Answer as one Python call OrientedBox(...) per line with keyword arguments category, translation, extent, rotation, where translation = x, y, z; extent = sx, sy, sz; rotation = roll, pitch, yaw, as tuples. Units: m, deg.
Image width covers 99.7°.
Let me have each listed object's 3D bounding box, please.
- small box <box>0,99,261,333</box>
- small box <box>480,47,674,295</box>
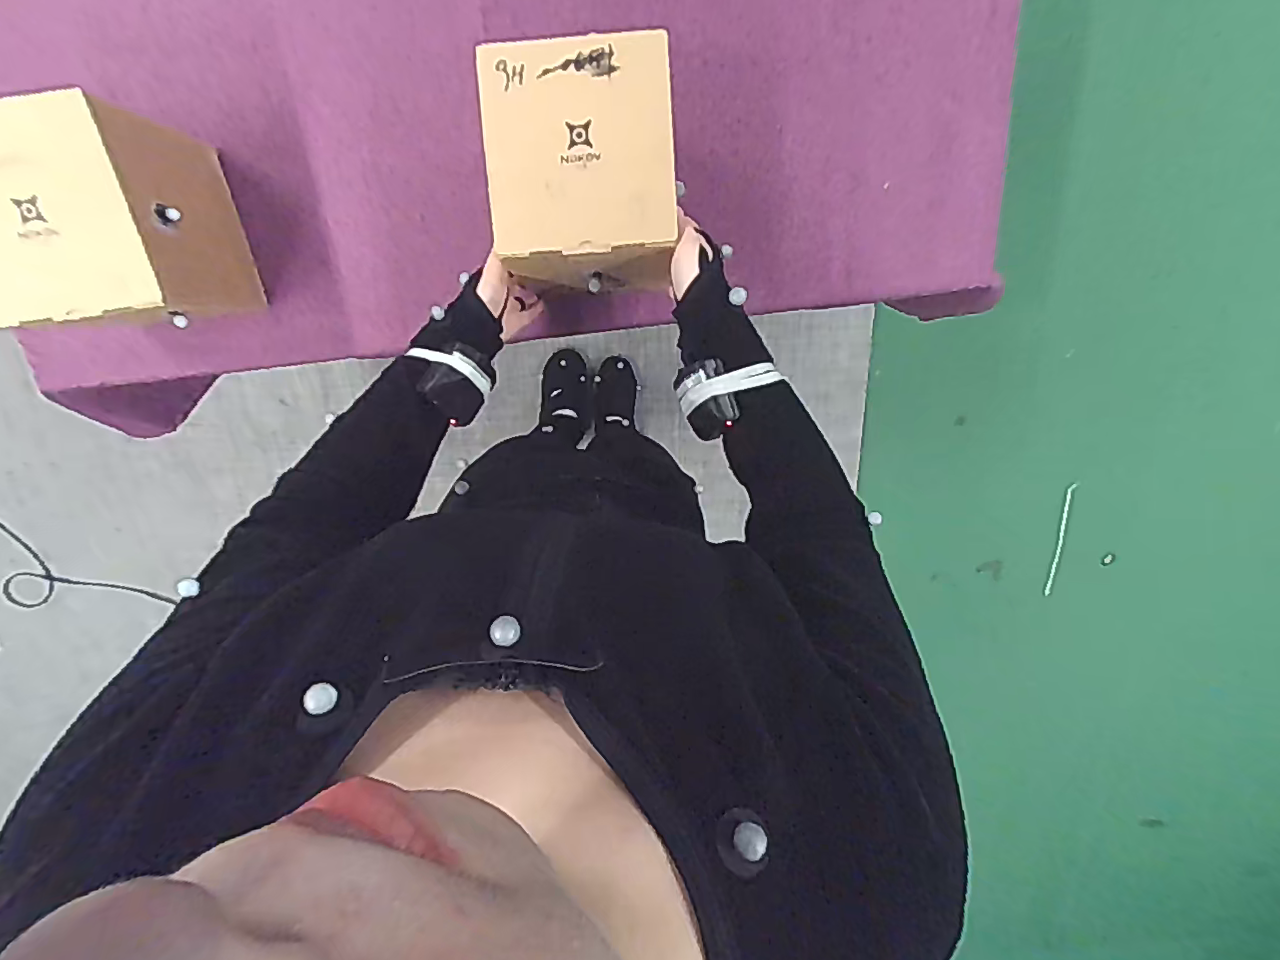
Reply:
OrientedBox(category="small box", translation=(-0.534, -0.252, 0.551), extent=(0.168, 0.176, 0.179), rotation=(-8, 107, -3))
OrientedBox(category="small box", translation=(-0.052, -0.293, 0.555), extent=(0.168, 0.176, 0.179), rotation=(-3, 98, 0))
